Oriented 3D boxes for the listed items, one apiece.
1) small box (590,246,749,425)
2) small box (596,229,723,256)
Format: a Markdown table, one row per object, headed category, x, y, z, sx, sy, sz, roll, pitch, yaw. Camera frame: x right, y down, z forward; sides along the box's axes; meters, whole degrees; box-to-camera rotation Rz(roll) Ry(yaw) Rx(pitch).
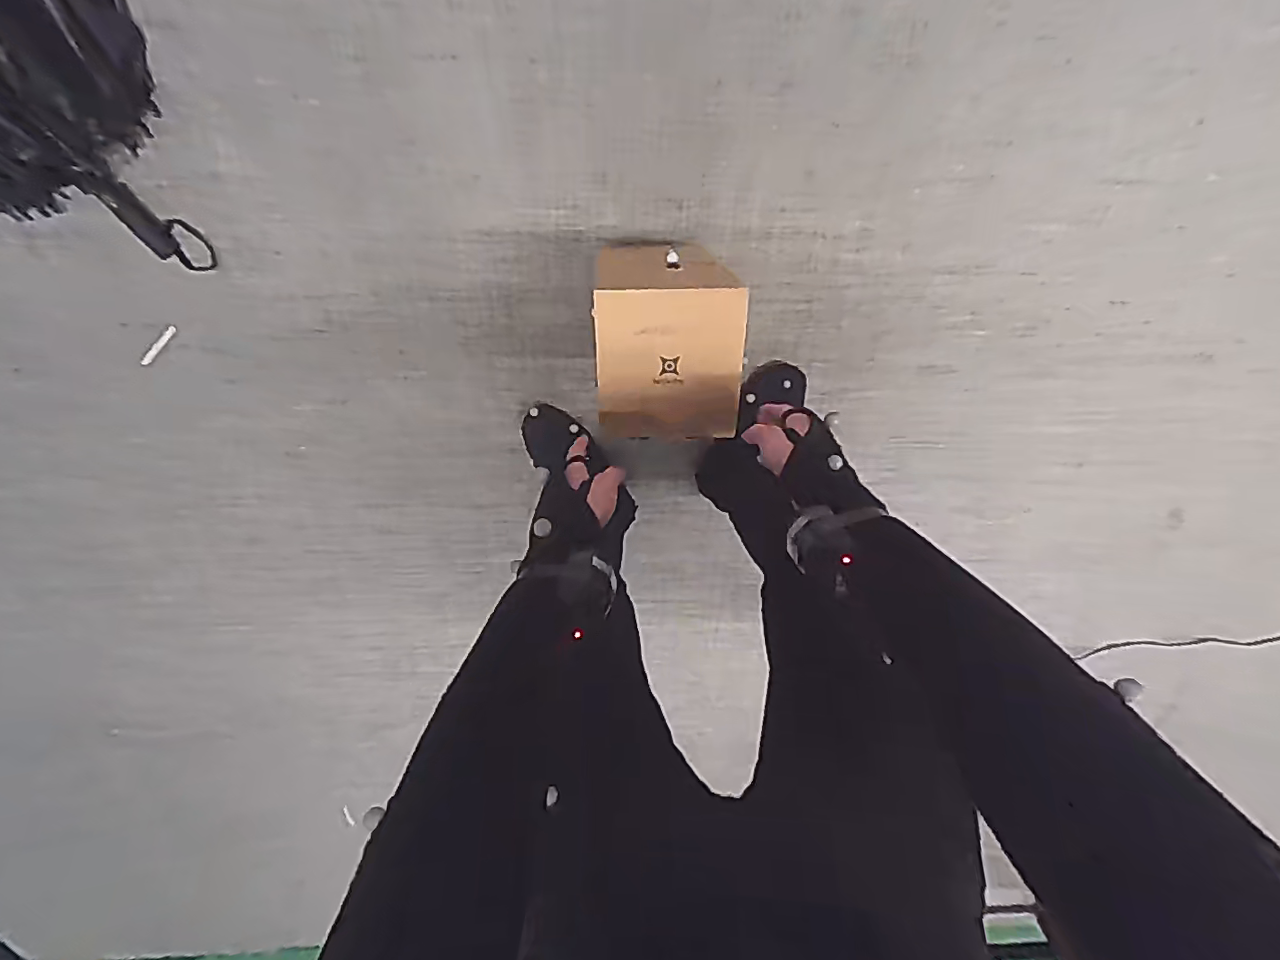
| category | x | y | z | sx | sy | sz | roll | pitch | yaw |
| --- | --- | --- | --- | --- | --- | --- | --- | --- | --- |
| small box | 0.029 | -0.180 | 0.661 | 0.168 | 0.176 | 0.179 | -1 | 120 | -2 |
| small box | 0.024 | -0.264 | 0.799 | 0.168 | 0.176 | 0.179 | -1 | 122 | -1 |
